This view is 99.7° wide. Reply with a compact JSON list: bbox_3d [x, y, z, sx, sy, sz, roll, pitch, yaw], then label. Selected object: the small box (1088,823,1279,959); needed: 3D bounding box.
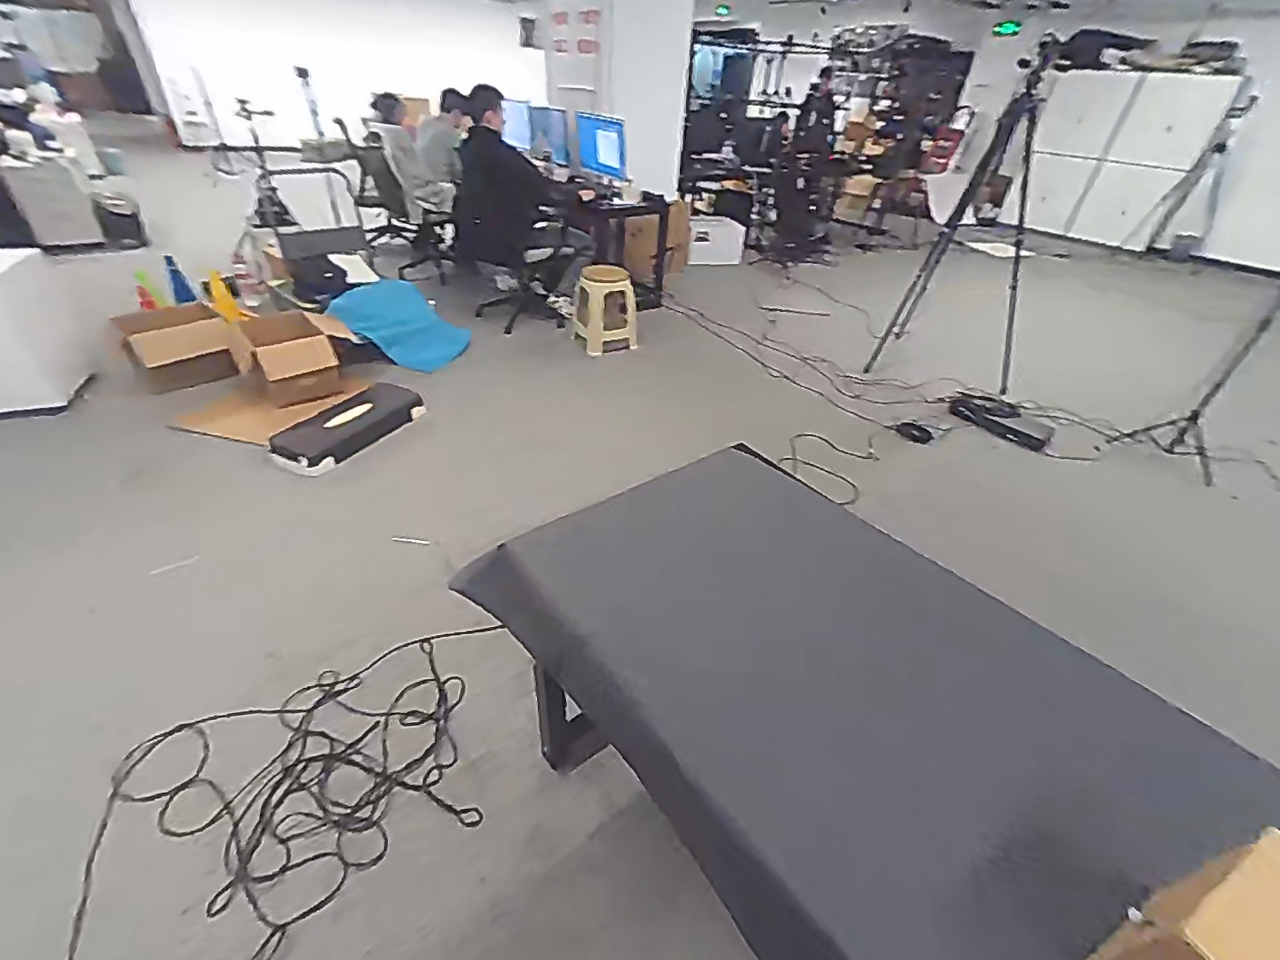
[{"bbox_3d":[0.526,0.437,0.445,0.179,0.176,0.168,-14,41,-24],"label":"small box"}]
